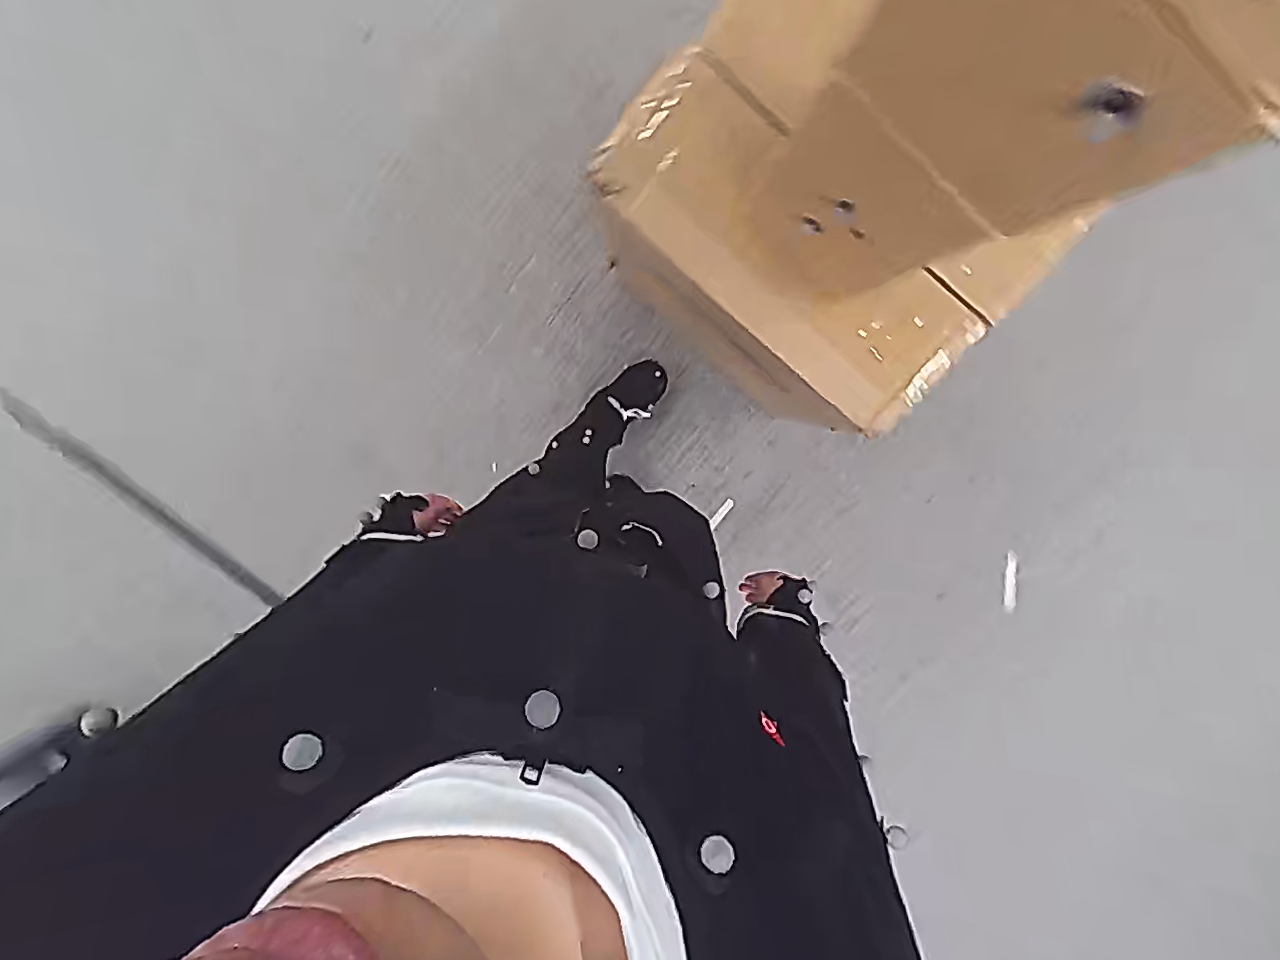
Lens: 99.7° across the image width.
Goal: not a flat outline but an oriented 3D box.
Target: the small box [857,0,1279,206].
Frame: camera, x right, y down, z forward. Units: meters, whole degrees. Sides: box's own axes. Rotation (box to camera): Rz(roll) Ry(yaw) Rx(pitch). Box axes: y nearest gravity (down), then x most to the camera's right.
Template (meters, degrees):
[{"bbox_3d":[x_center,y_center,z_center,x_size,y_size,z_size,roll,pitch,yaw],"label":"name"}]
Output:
[{"bbox_3d":[0.251,-0.272,0.274,0.179,0.176,0.168,42,98,-6],"label":"small box"}]

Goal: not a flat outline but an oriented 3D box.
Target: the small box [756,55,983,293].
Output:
[{"bbox_3d":[0.252,-0.332,0.597,0.179,0.176,0.168,42,98,-6],"label":"small box"}]
